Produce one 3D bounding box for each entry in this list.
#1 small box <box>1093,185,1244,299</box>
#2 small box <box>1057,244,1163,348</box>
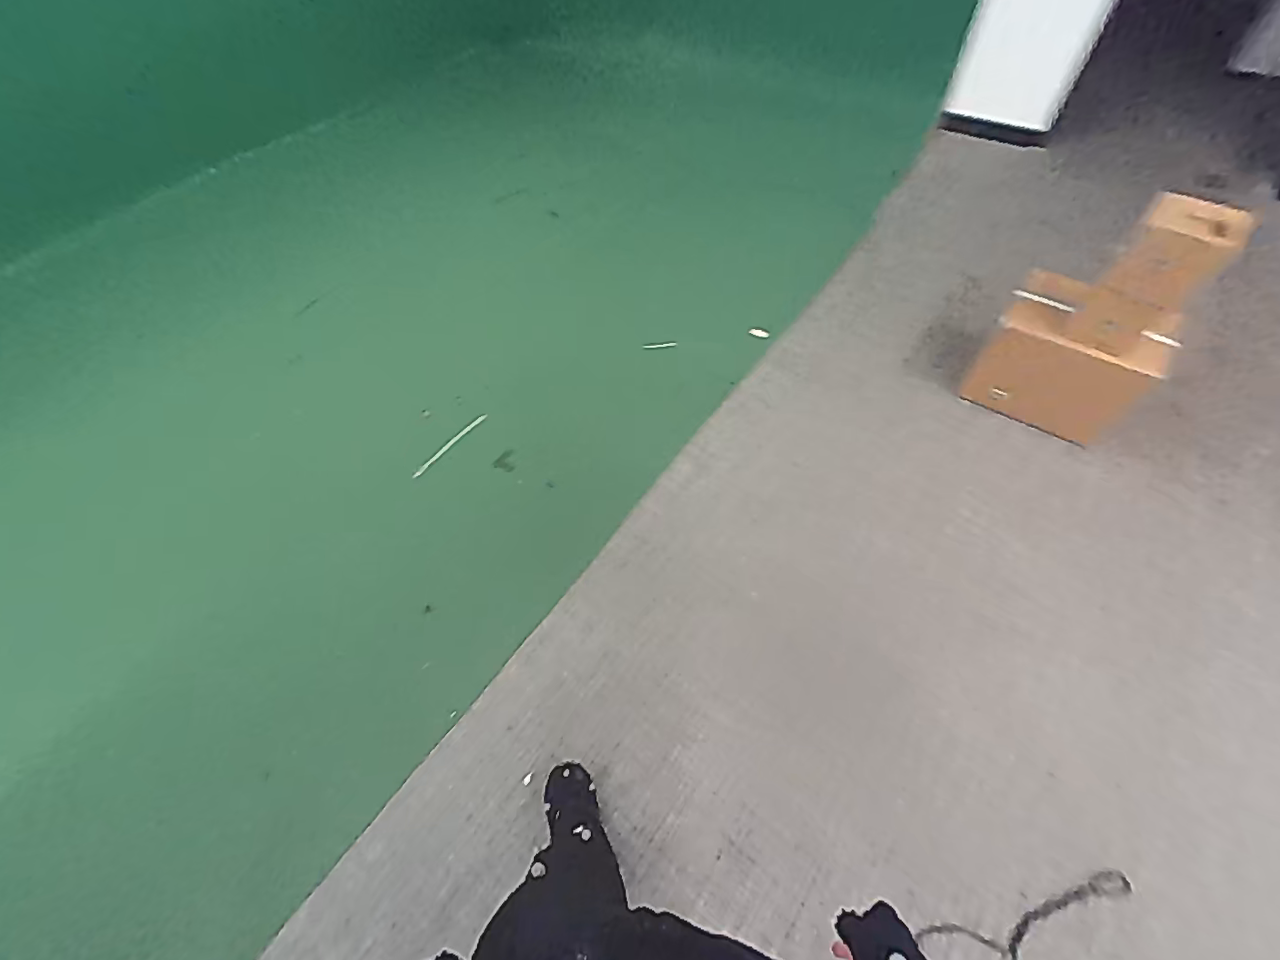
[{"bbox_3d":[1.250,-0.561,1.290,0.179,0.176,0.168,35,67,24],"label":"small box"},{"bbox_3d":[1.258,-0.484,1.436,0.168,0.176,0.179,33,66,22],"label":"small box"}]
